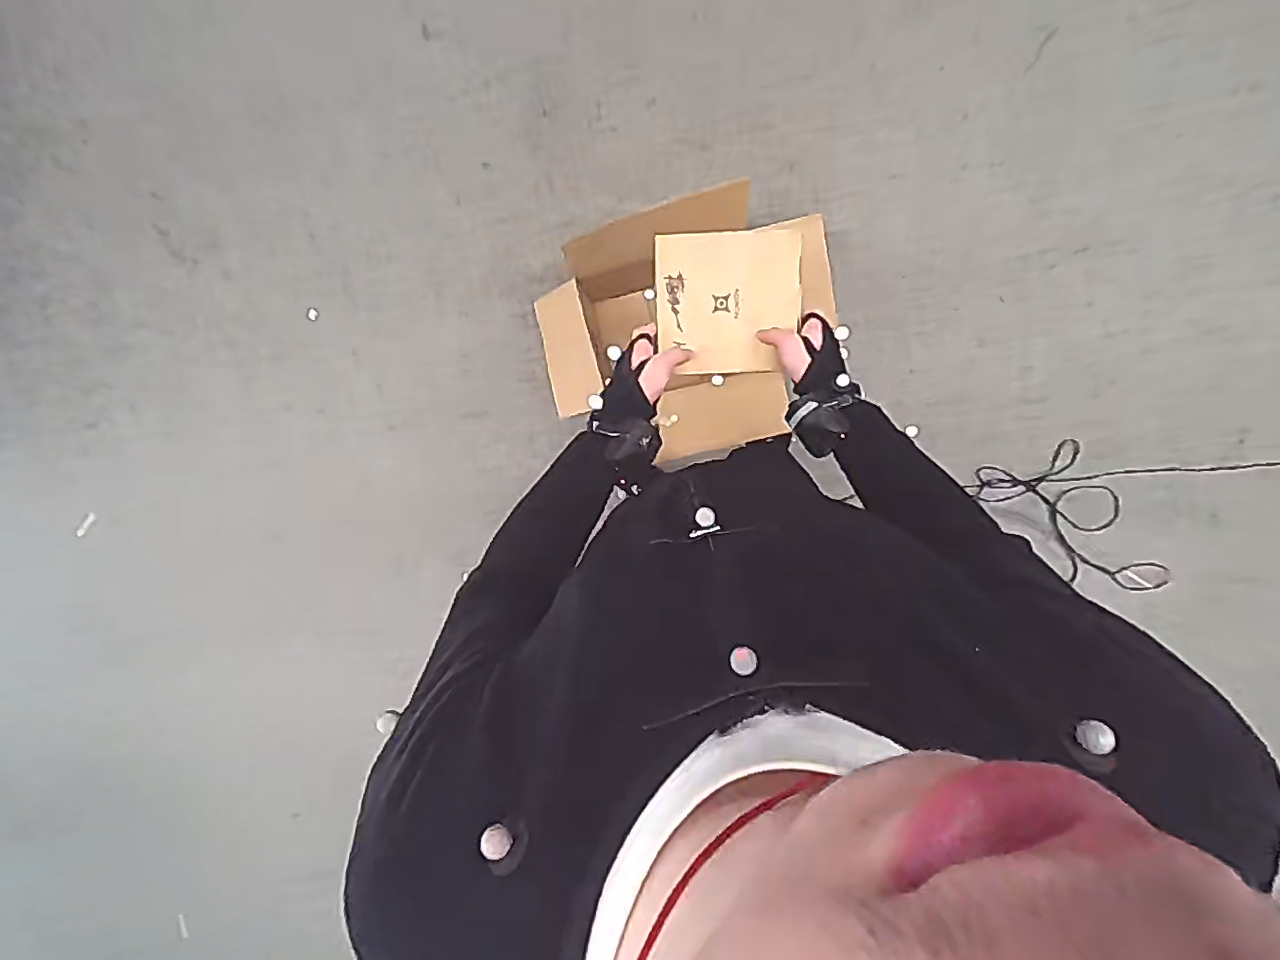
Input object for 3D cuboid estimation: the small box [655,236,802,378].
[{"bbox_3d":[0.110,-0.226,0.738,0.179,0.176,0.168,-1,101,2],"label":"small box"}]
